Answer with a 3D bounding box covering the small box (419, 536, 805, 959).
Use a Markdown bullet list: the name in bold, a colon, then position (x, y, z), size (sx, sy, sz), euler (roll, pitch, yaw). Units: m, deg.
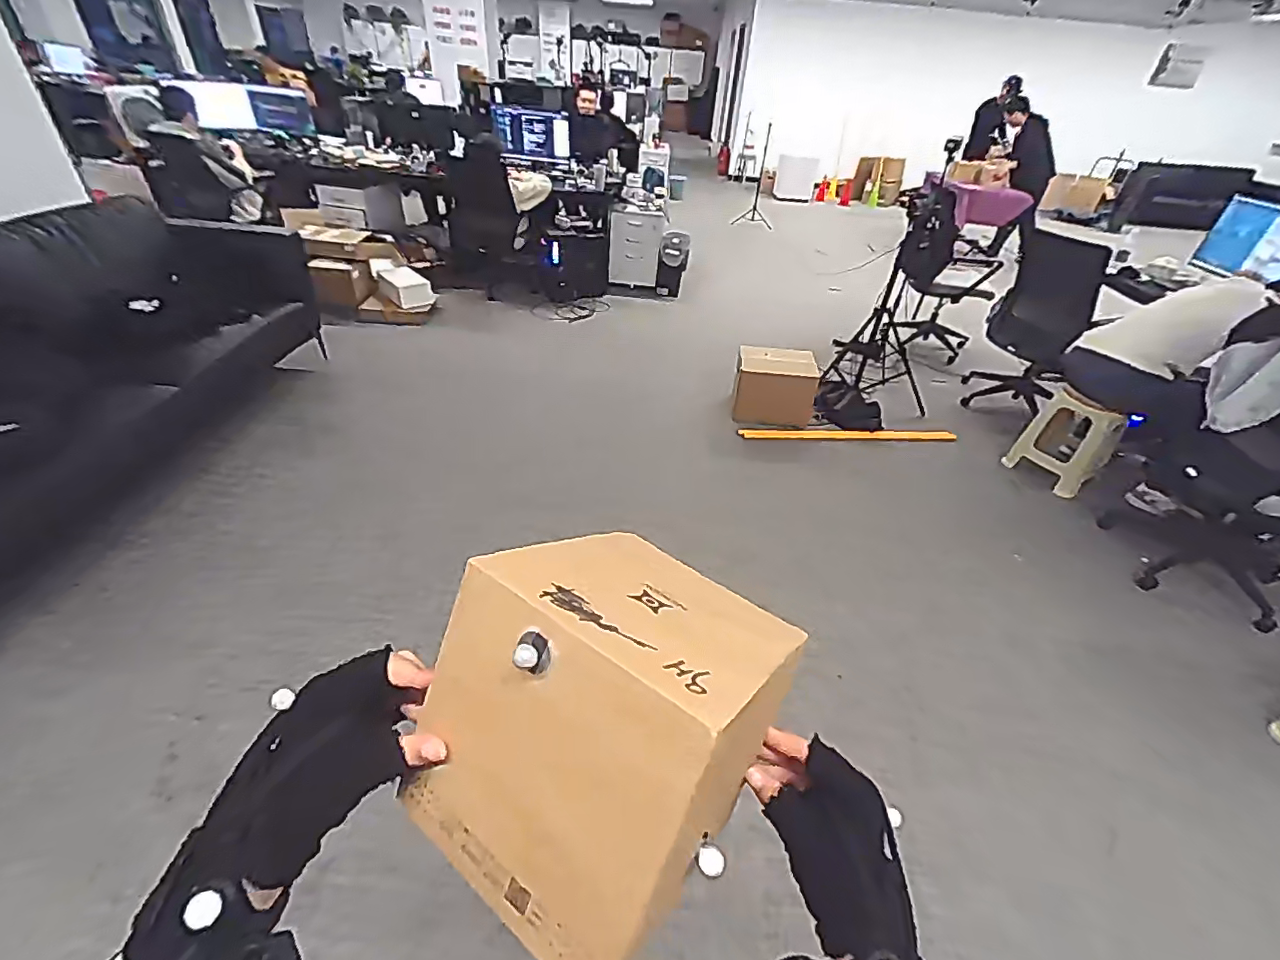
- **small box**: position (-0.014, 0.153, 0.366), size (0.168, 0.176, 0.179), euler (25, 11, 28)
